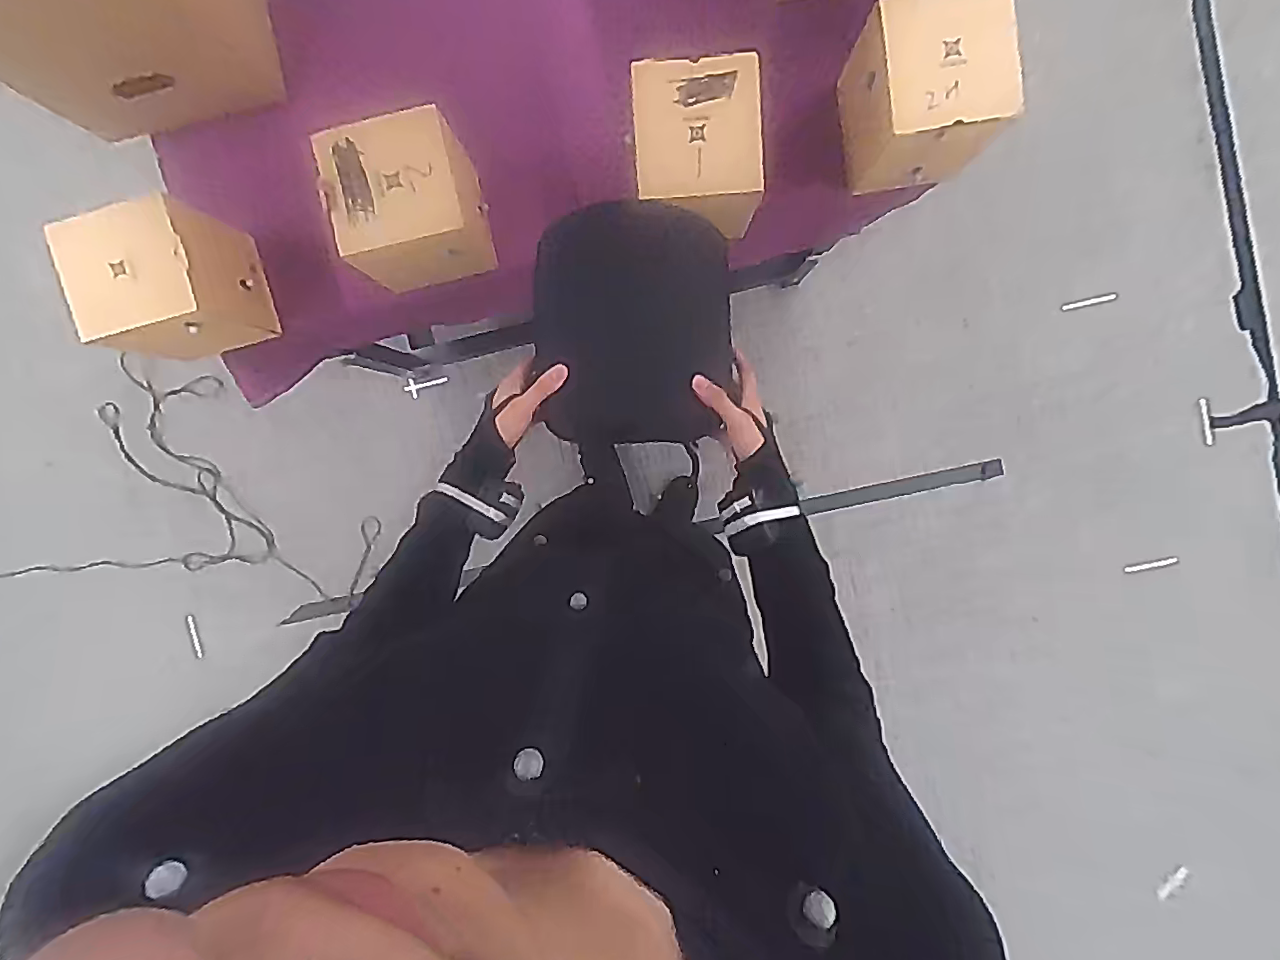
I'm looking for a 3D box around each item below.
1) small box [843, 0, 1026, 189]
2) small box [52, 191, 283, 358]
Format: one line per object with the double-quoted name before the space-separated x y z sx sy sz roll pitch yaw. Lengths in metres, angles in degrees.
"small box" 0.398 -0.545 0.760 0.168 0.176 0.179 -8 93 3
"small box" -0.691 -0.294 0.813 0.179 0.176 0.168 -16 94 1
